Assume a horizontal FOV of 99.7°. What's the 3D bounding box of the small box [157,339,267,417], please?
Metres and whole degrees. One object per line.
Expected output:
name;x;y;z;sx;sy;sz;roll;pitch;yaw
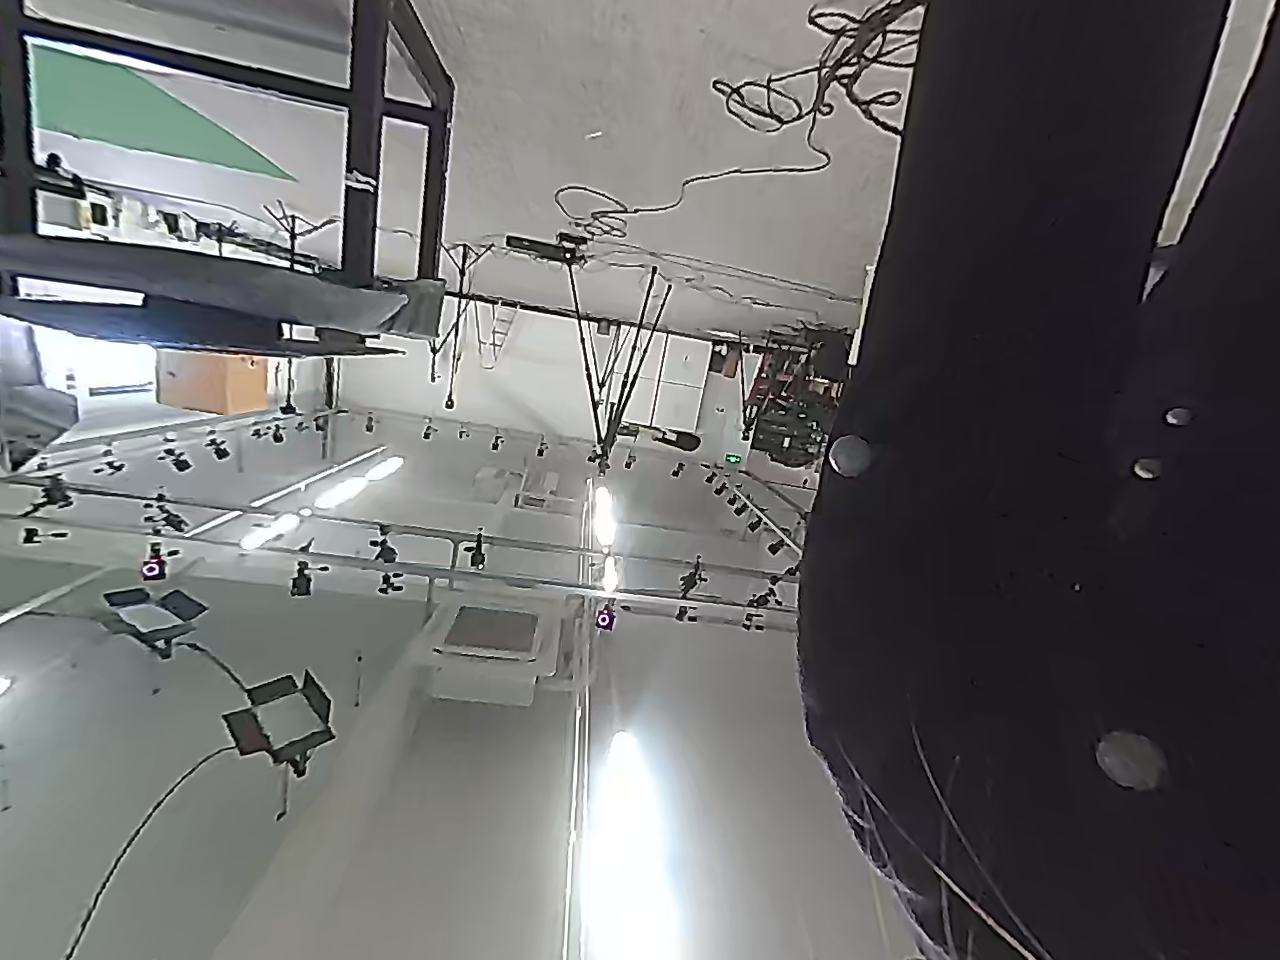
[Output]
small box;-1.106;-0.270;1.408;0.179;0.176;0.168;9;-165;-5
